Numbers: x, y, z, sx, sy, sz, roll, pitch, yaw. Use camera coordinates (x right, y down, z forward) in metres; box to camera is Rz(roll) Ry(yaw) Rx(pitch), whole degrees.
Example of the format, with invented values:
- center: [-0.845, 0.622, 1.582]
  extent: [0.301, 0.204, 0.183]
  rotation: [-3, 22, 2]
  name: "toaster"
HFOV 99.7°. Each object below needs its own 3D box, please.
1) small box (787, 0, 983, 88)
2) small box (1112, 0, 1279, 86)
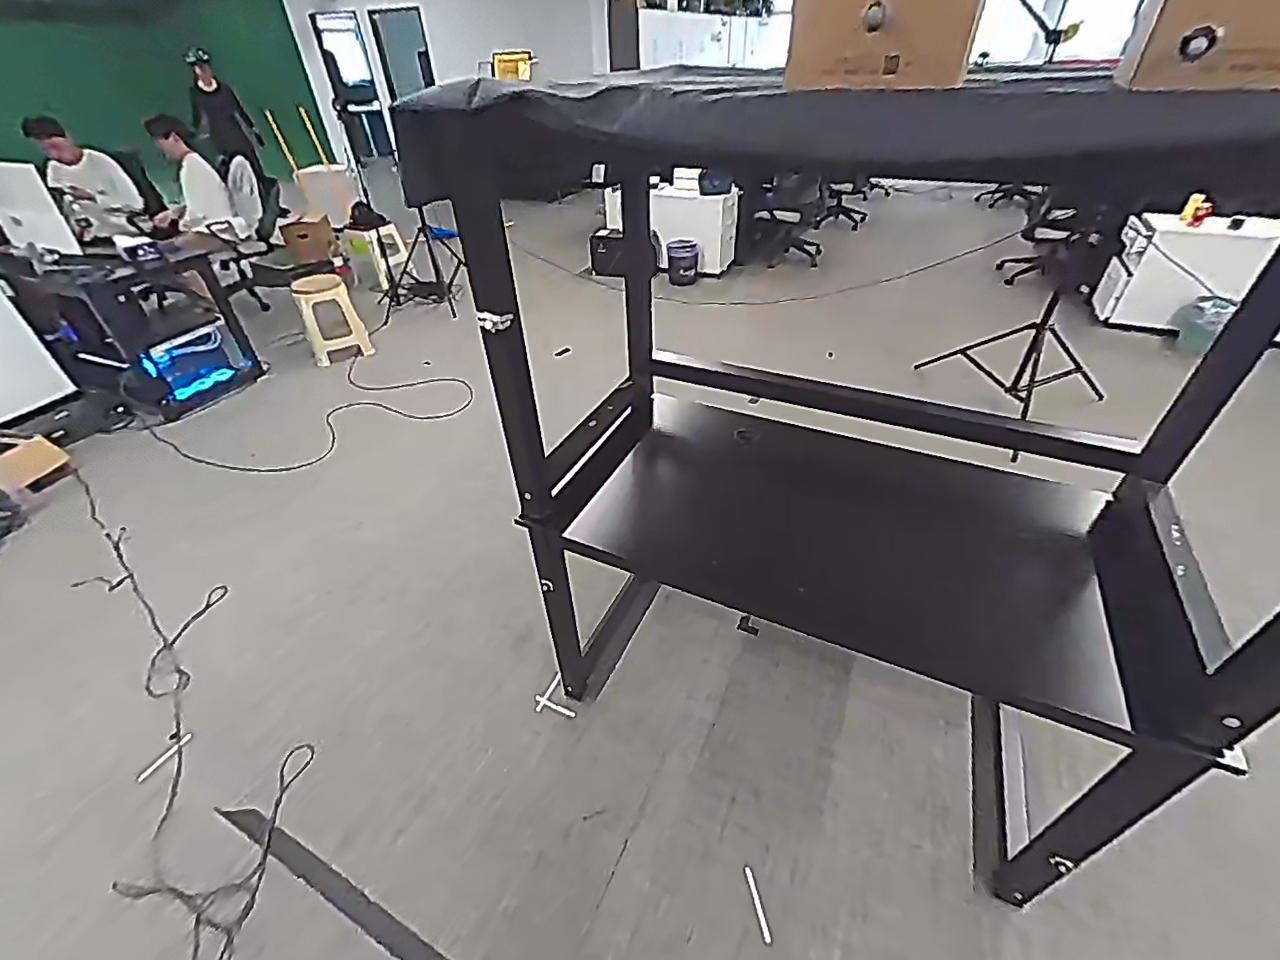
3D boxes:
- center: [0.256, -0.502, 0.542]
  extent: [0.168, 0.176, 0.179]
  rotation: [16, 40, 22]
  name: "small box"
- center: [0.527, -0.428, 0.439]
  extent: [0.168, 0.176, 0.179]
  rotation: [19, 41, 24]
  name: "small box"
